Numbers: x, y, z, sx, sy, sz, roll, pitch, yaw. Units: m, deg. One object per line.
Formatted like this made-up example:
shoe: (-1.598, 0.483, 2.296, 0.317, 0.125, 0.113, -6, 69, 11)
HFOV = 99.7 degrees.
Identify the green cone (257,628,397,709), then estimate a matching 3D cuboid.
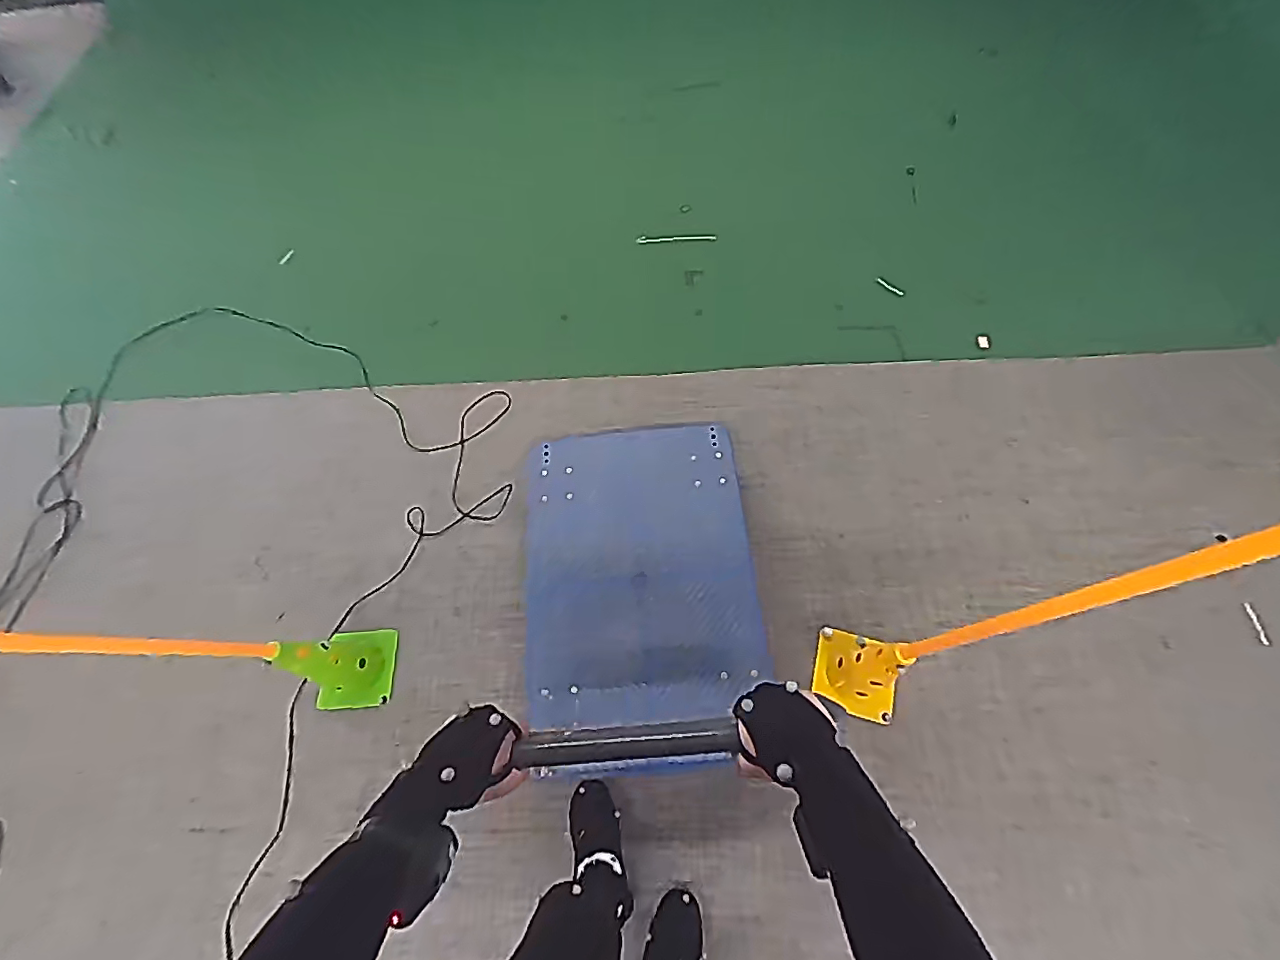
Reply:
green cone: (-0.790, 0.442, 1.333, 0.202, 0.368, 0.200, -7, 64, 3)
